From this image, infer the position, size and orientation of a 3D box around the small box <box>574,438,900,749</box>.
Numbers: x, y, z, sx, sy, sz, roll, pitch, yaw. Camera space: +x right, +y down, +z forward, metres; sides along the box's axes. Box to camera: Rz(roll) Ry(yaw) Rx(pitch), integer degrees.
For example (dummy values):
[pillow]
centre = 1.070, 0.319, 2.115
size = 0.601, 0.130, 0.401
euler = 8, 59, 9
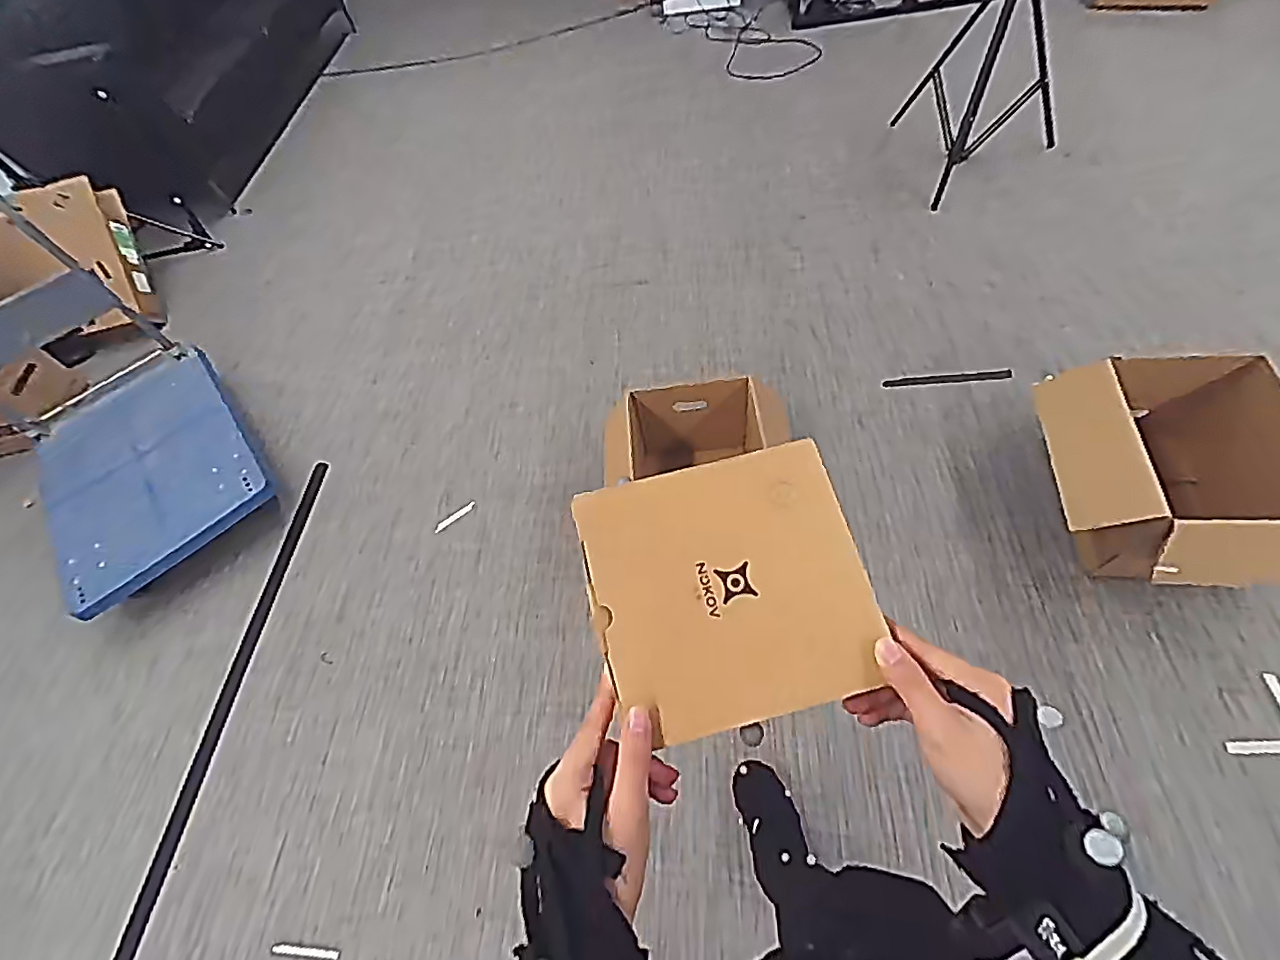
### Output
[small box]
centre = 0.059, 0.089, 0.423
size = 0.179, 0.176, 0.168
euler = -15, 71, -2
